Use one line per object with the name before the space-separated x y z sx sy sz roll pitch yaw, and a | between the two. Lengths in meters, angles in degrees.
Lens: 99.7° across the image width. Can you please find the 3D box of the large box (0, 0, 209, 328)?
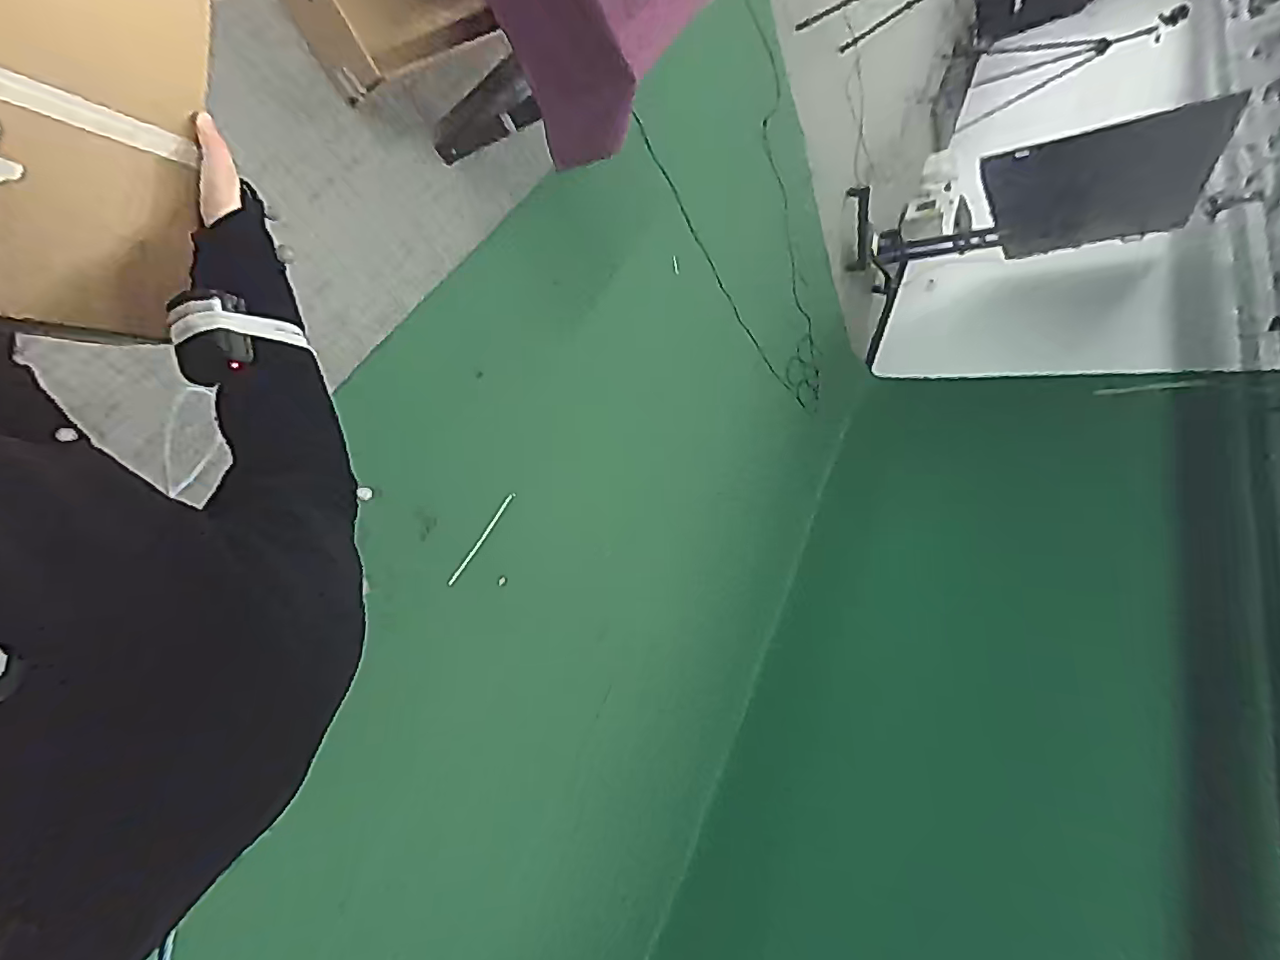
large box | -0.611 -0.303 0.394 0.408 0.320 0.320 -3 102 -53
